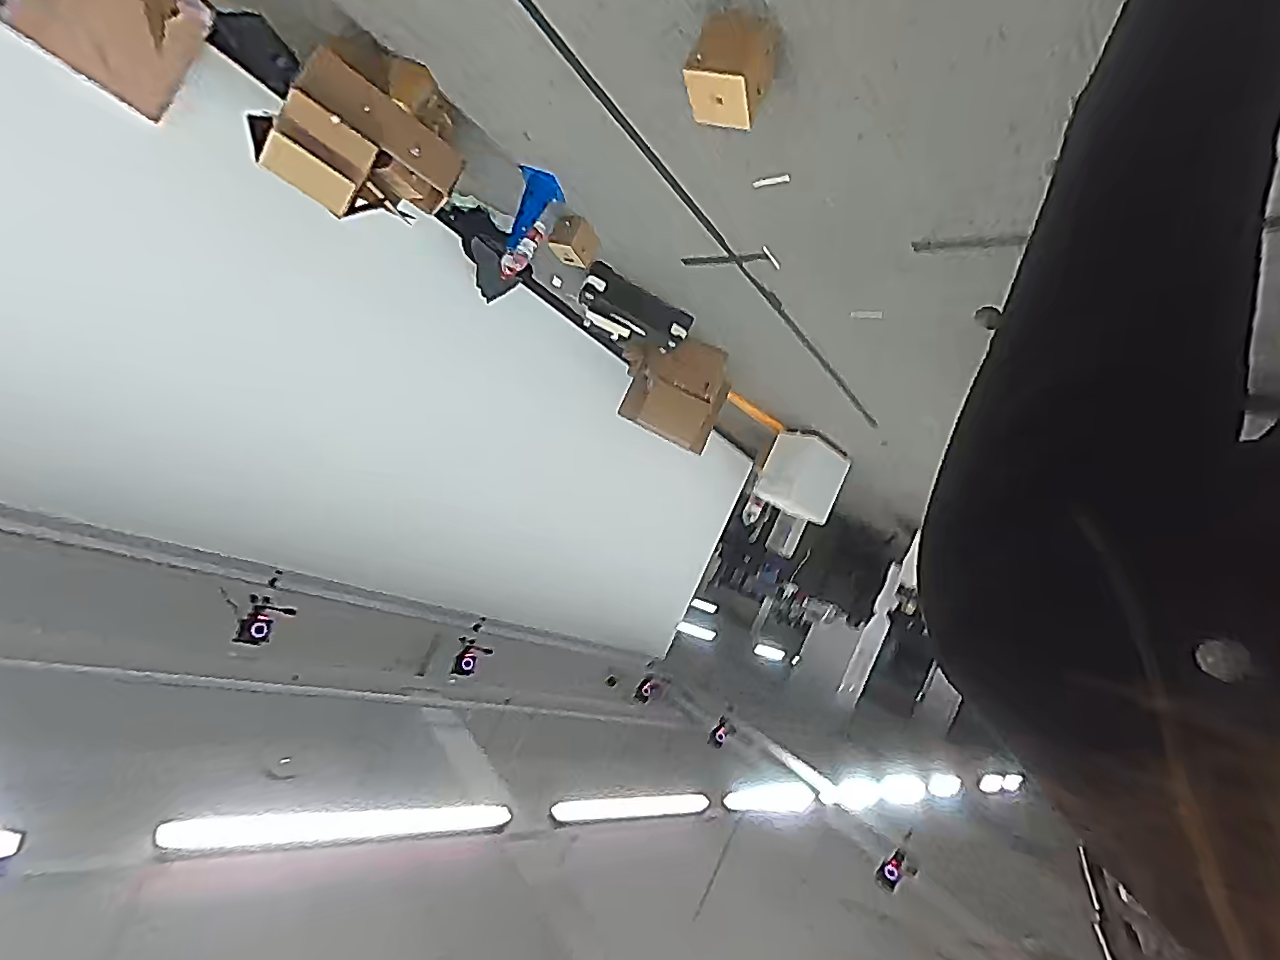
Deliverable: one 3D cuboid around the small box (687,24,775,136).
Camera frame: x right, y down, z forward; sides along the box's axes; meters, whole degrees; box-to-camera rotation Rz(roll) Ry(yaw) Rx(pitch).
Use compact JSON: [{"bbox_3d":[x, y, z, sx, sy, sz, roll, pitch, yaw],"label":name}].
[{"bbox_3d":[0.250,-1.067,1.443,0.179,0.176,0.168,25,175,21],"label":"small box"}]
